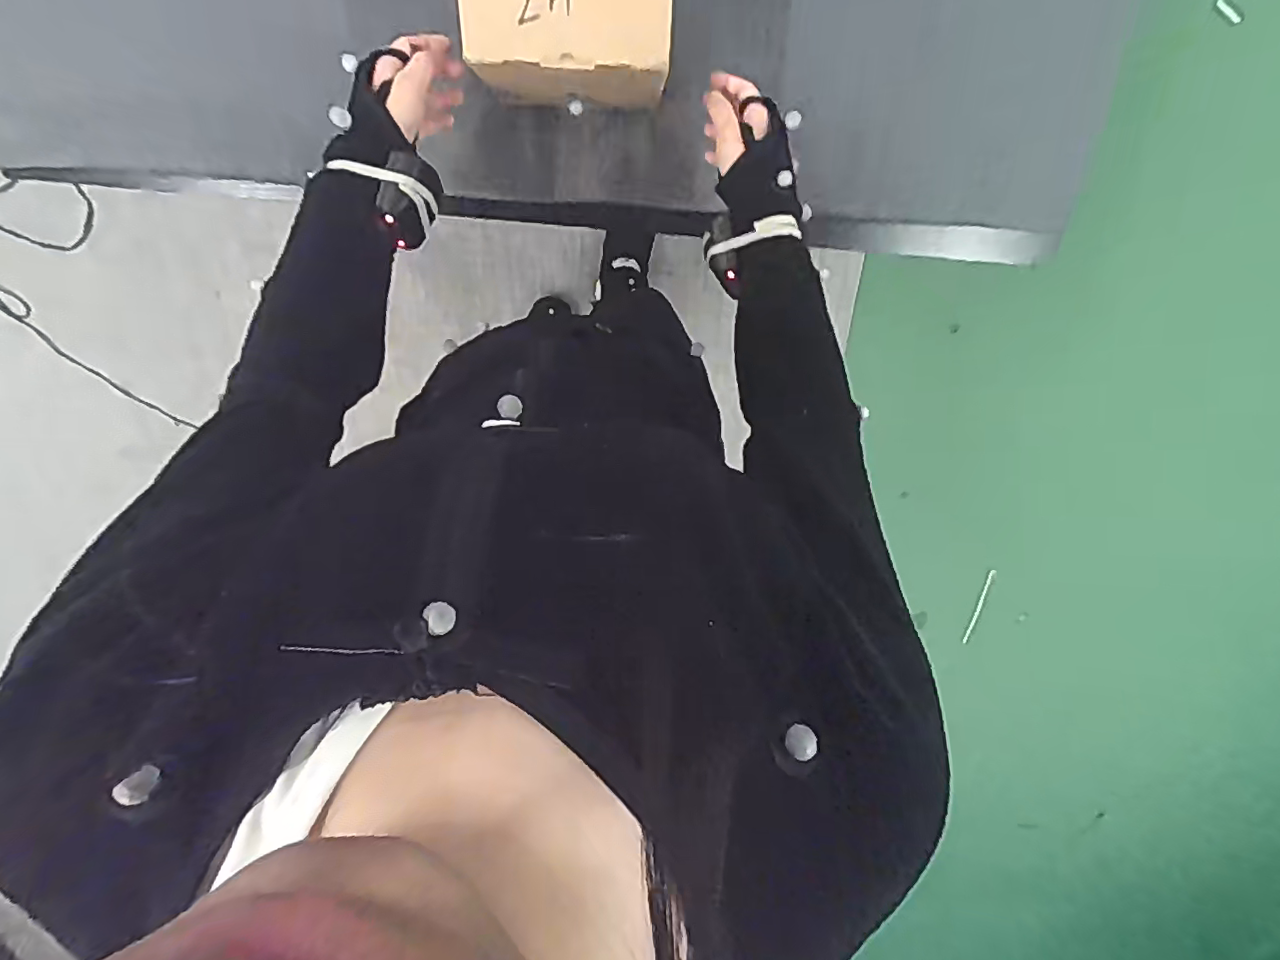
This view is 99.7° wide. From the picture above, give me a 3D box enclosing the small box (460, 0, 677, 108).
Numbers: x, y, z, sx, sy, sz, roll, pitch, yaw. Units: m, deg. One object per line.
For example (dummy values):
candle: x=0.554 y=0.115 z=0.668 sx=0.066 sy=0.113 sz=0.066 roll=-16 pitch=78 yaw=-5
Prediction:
small box: x=-0.056 y=-0.442 z=0.459 sx=0.168 sy=0.176 sz=0.179 roll=0 pitch=114 yaw=-3
